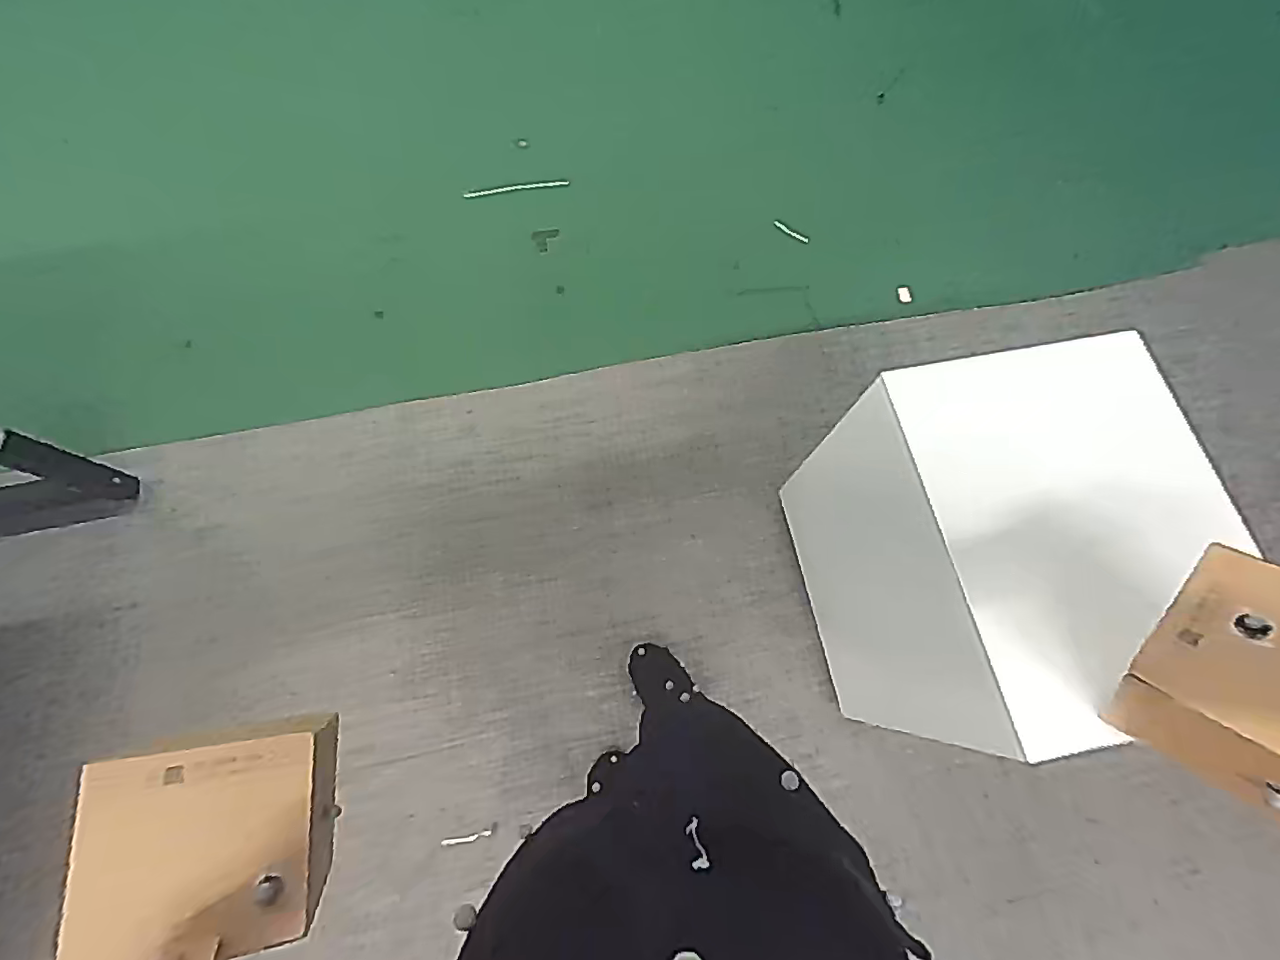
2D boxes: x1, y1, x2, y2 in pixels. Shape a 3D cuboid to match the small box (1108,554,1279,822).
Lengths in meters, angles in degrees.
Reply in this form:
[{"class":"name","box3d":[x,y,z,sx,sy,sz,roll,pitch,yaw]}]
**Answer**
[{"class":"small box","box3d":[0.600,0.200,0.524,0.168,0.179,0.176,-48,44,-8]}]
